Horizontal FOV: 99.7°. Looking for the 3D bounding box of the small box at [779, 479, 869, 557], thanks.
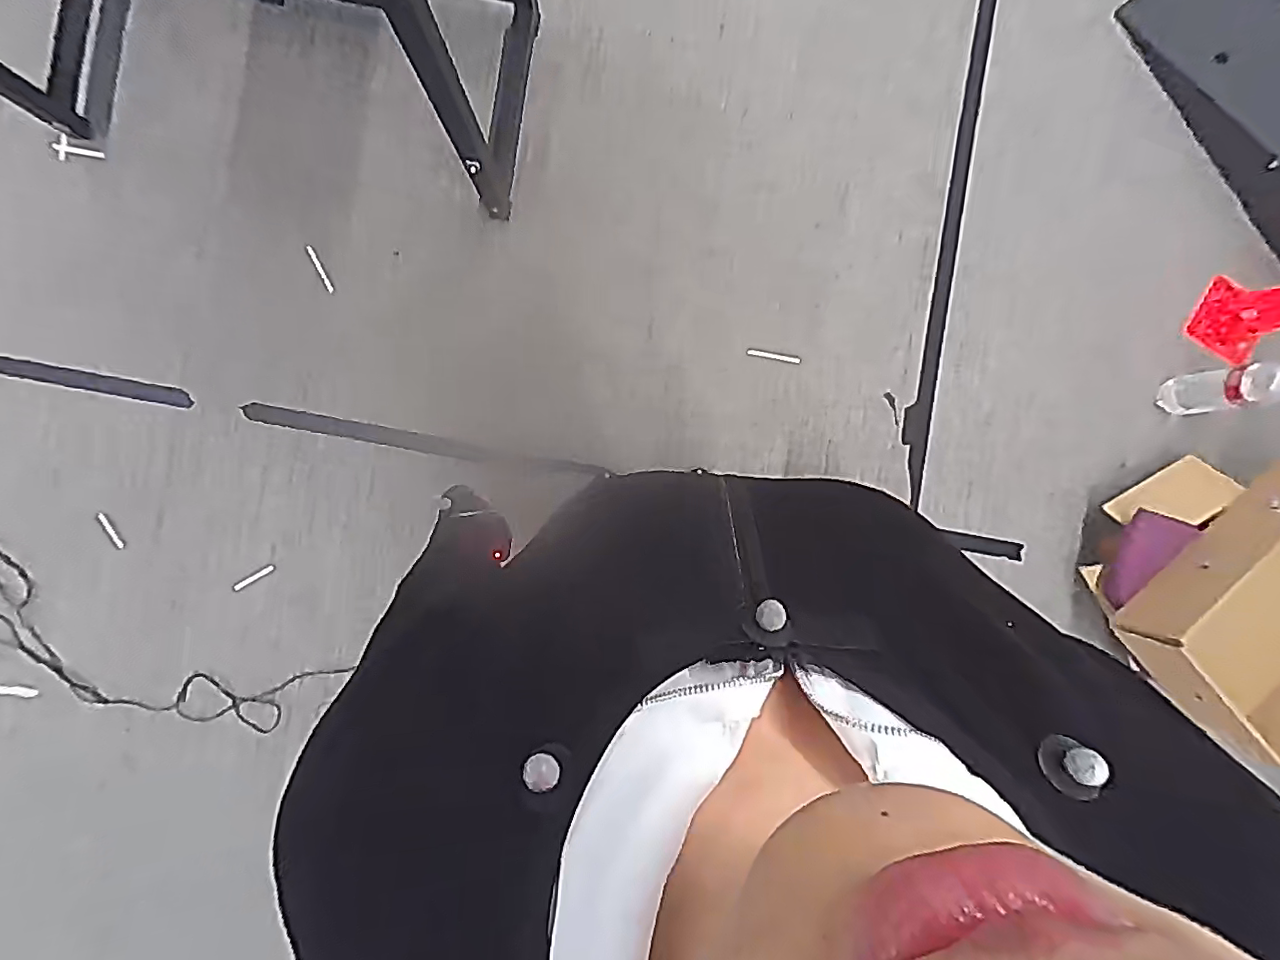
[{"bbox_3d":[0.483,0.096,1.445,0.168,0.176,0.179,10,90,-1],"label":"small box"}]
